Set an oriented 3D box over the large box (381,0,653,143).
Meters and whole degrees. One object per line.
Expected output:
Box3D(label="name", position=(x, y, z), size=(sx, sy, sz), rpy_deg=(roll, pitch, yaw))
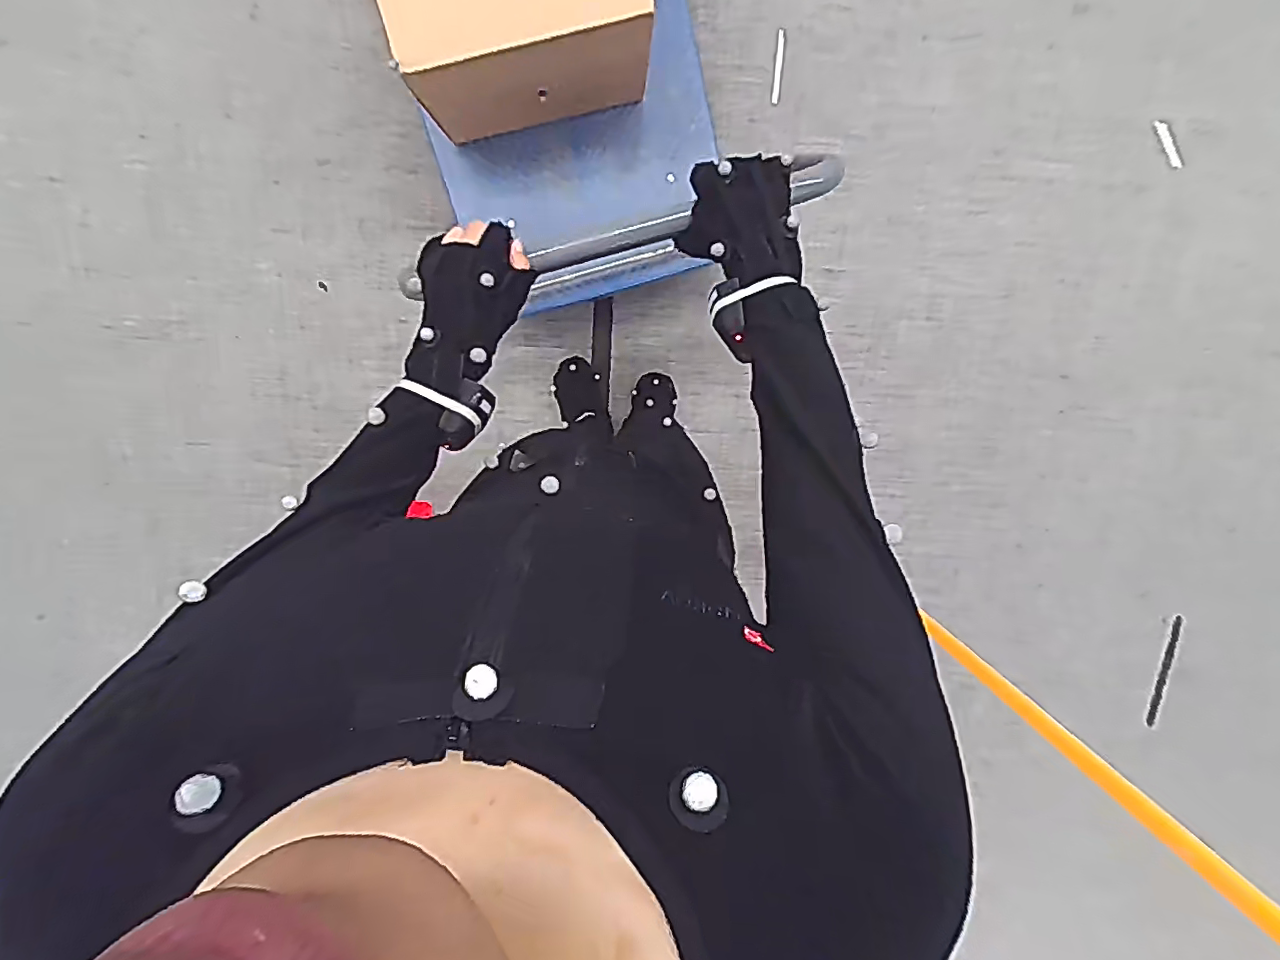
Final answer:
Box3D(label="large box", position=(-0.211, -0.845, 0.937), size=(0.408, 0.320, 0.320), rpy_deg=(-14, 104, 2))
